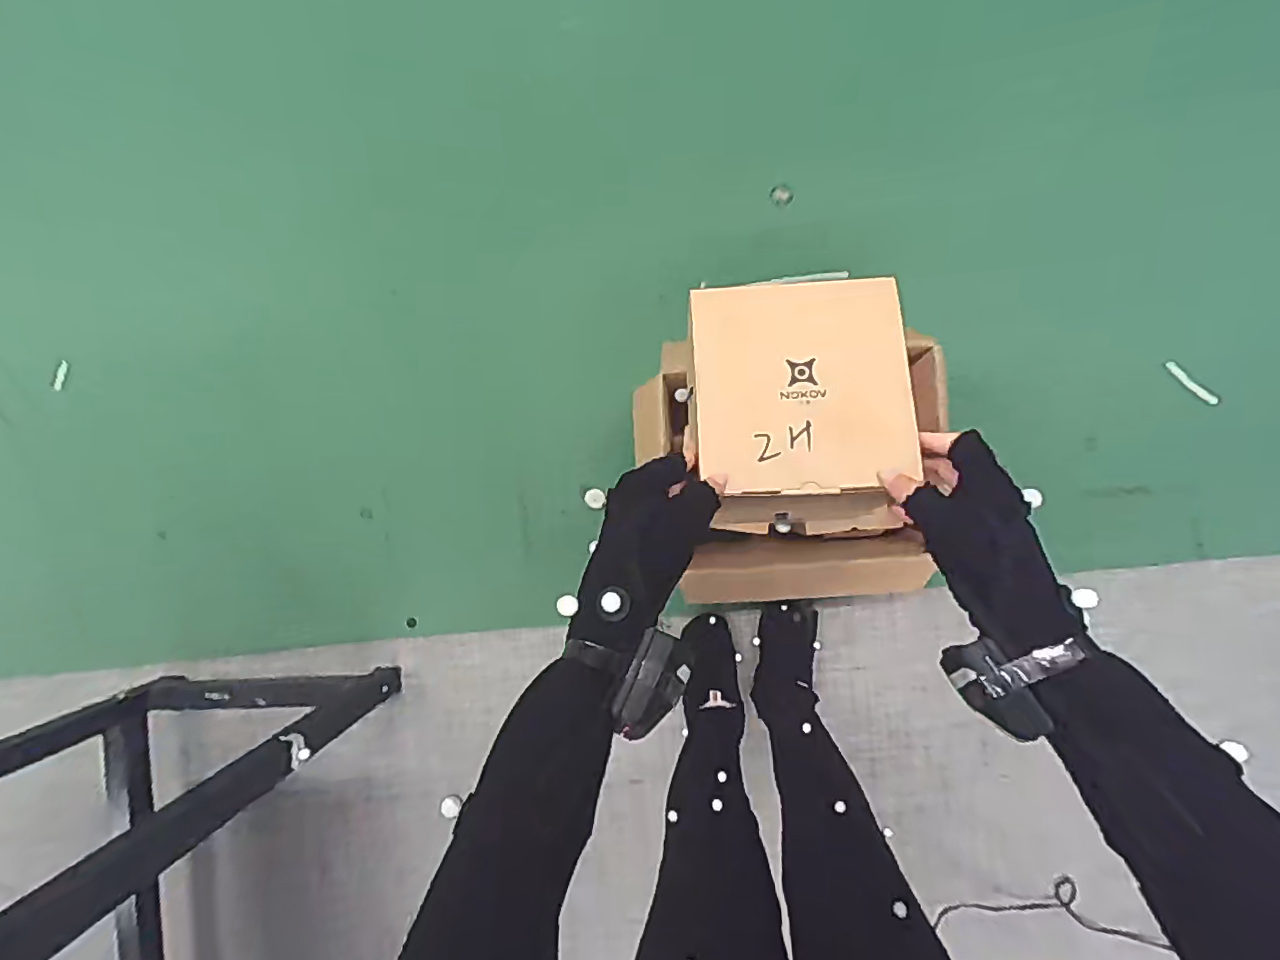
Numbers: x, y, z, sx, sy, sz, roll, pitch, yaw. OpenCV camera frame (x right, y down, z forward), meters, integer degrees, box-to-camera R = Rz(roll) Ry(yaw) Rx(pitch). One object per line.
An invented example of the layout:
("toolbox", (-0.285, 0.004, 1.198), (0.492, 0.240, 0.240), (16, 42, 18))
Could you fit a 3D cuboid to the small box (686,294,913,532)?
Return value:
("small box", (0.129, -0.049, 0.508), (0.168, 0.176, 0.179), (-2, 78, 4))
